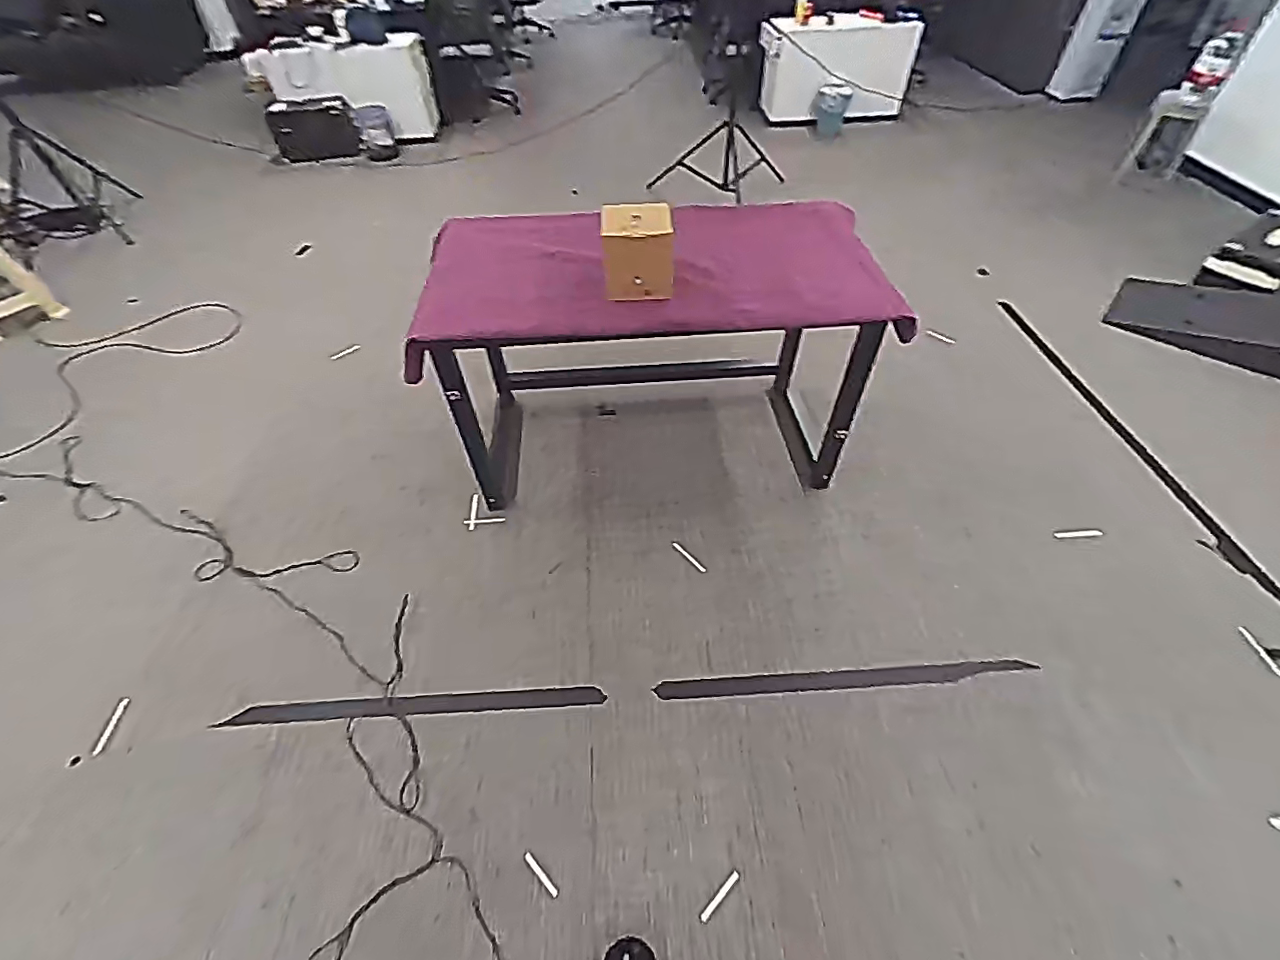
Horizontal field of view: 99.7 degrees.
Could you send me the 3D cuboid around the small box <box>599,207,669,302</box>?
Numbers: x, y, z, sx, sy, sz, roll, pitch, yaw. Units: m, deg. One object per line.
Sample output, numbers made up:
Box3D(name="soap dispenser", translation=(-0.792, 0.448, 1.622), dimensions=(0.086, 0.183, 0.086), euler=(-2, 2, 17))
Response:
Box3D(name="small box", translation=(-0.015, -0.568, 1.364), dimensions=(0.168, 0.176, 0.179), euler=(-3, 49, 0))
